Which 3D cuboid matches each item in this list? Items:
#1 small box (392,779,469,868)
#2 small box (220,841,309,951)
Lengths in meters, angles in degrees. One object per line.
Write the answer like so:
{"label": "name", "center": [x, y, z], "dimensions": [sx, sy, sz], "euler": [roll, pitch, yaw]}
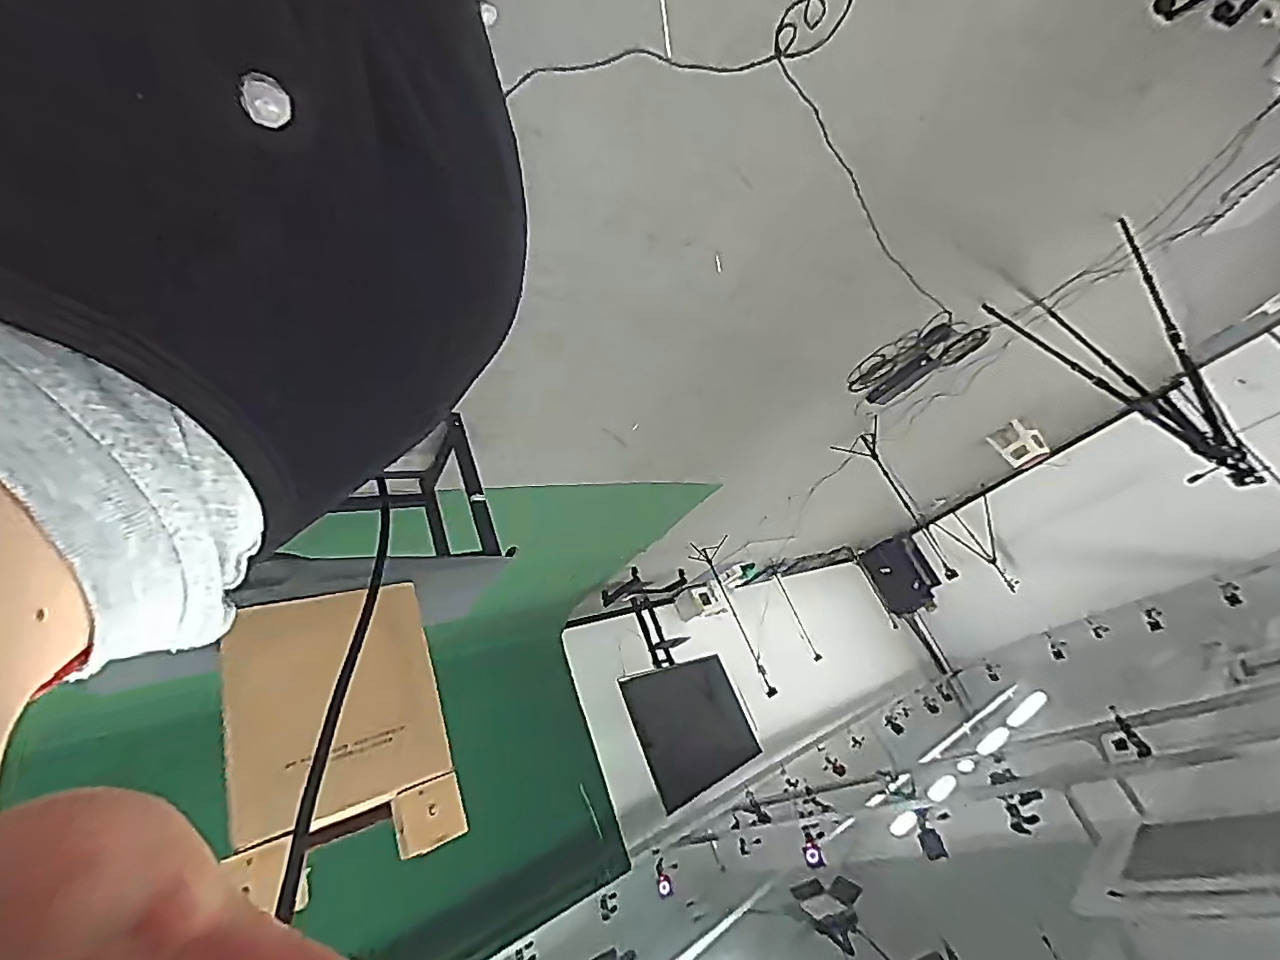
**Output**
{"label": "small box", "center": [-0.628, 1.015, 1.605], "dimensions": [0.168, 0.176, 0.179], "euler": [-7, 151, -35]}
{"label": "small box", "center": [-0.938, 1.030, 1.357], "dimensions": [0.168, 0.176, 0.179], "euler": [-6, 151, -30]}
